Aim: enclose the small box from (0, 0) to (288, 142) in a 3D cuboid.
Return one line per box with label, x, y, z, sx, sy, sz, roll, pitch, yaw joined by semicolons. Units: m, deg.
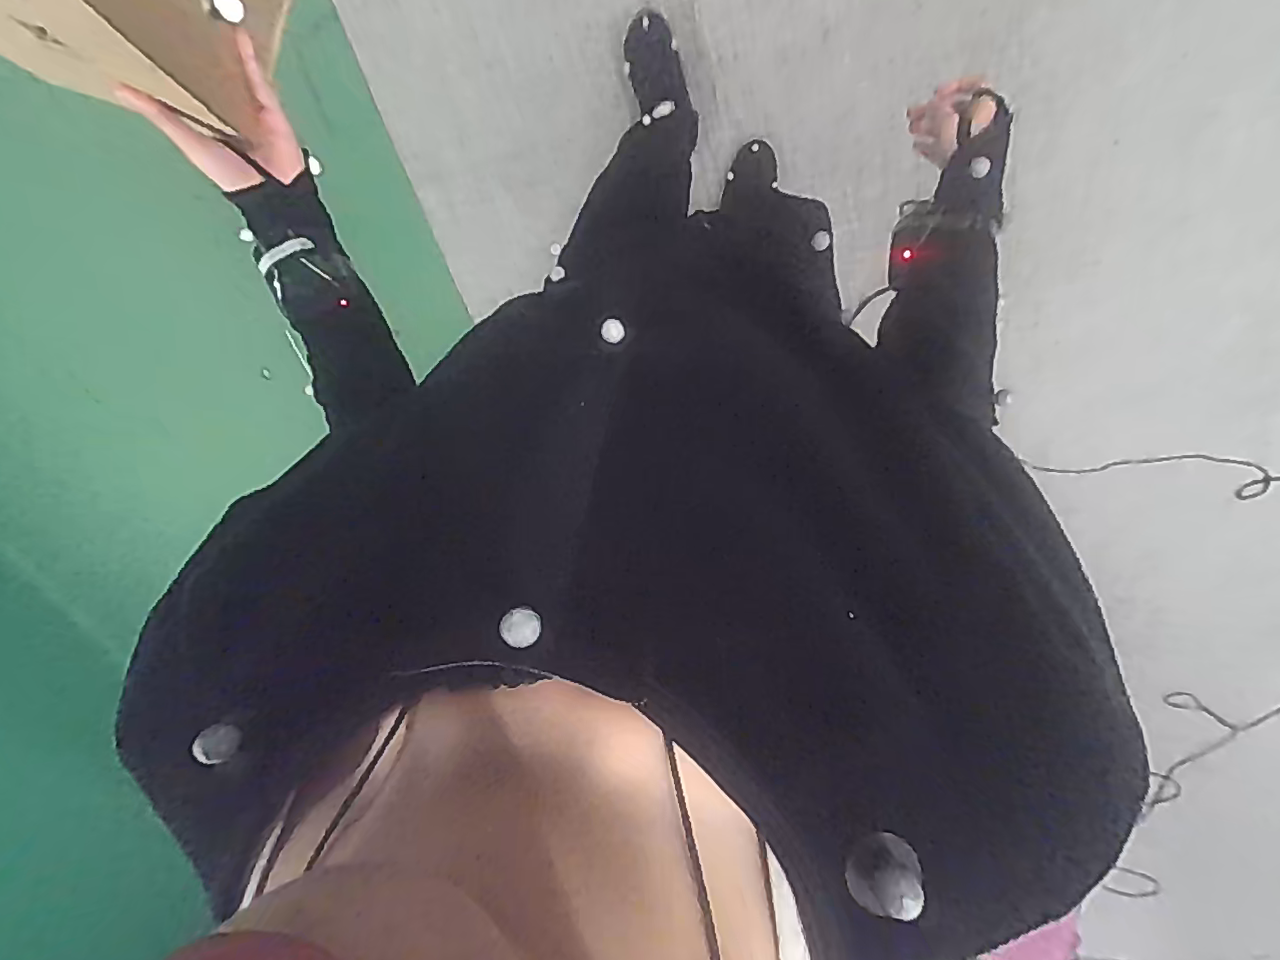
small box;-0.356;-0.371;0.348;0.168;0.179;0.176;16;94;-8
